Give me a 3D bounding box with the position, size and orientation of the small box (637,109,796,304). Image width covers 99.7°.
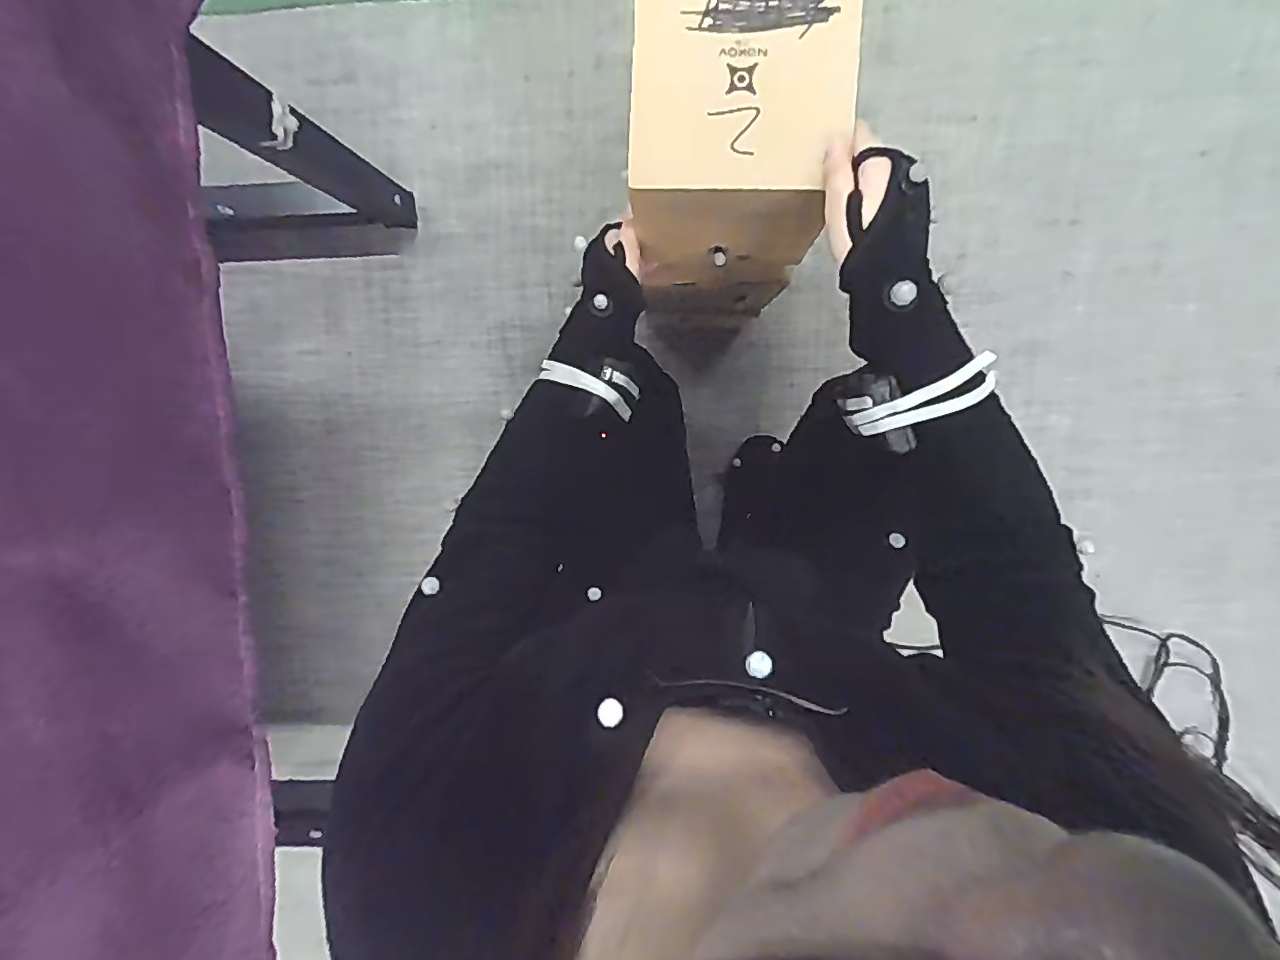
[{"bbox_3d":[0.082,-0.313,0.653,0.168,0.176,0.179,0,99,1],"label":"small box"}]

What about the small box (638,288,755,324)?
[{"bbox_3d":[0.087,-0.333,0.815,0.168,0.176,0.179,3,100,2],"label":"small box"}]
